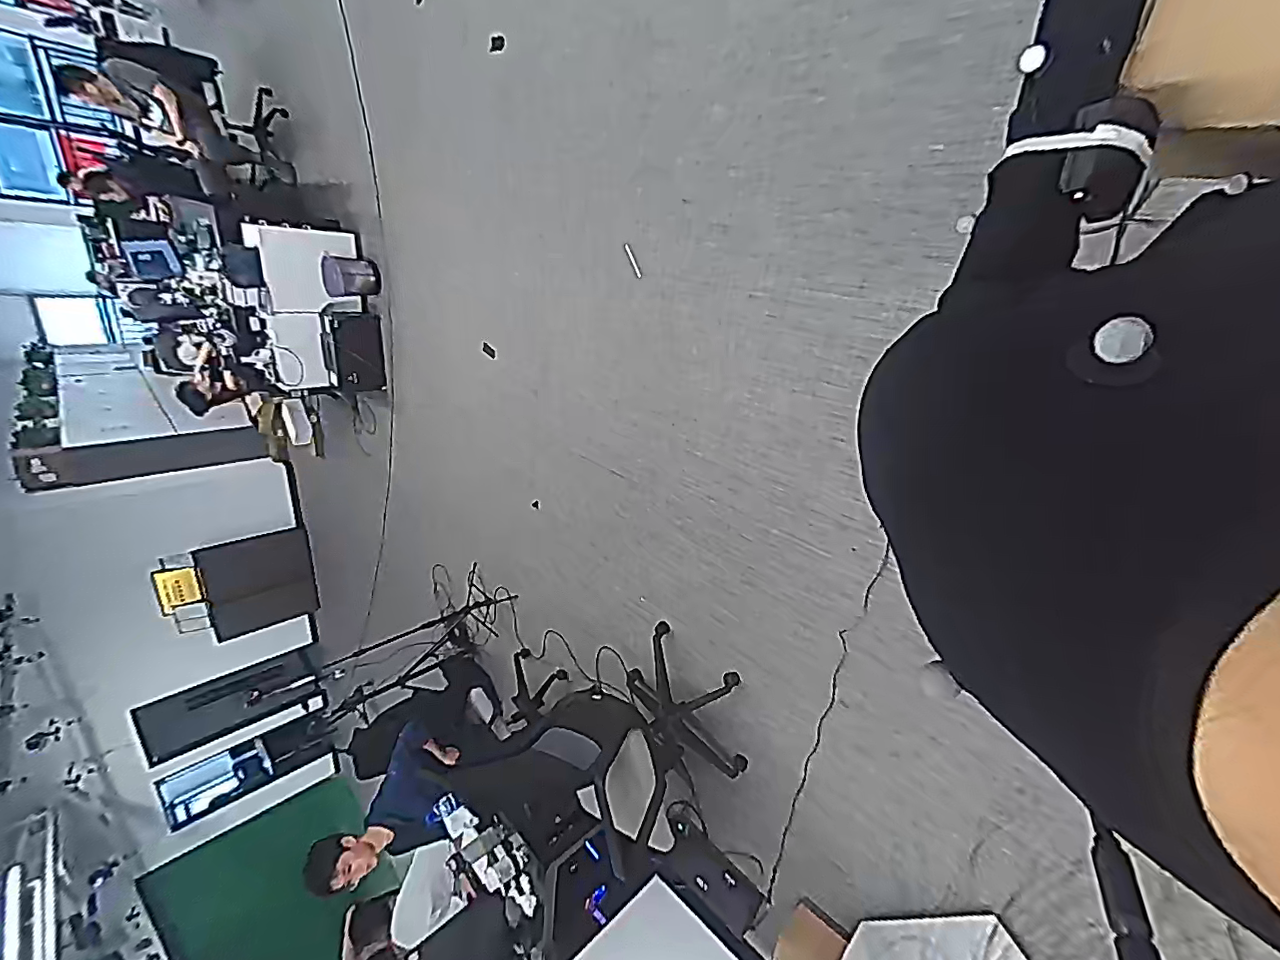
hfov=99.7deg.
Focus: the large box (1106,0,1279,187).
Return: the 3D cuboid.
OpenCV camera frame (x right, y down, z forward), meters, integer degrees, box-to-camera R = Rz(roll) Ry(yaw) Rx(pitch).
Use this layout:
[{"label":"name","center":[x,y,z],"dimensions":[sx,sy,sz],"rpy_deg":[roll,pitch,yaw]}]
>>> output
[{"label":"large box","center":[0.611,-0.381,0.348],"dimensions":[0.408,0.320,0.320],"rpy_deg":[23,122,35]}]
